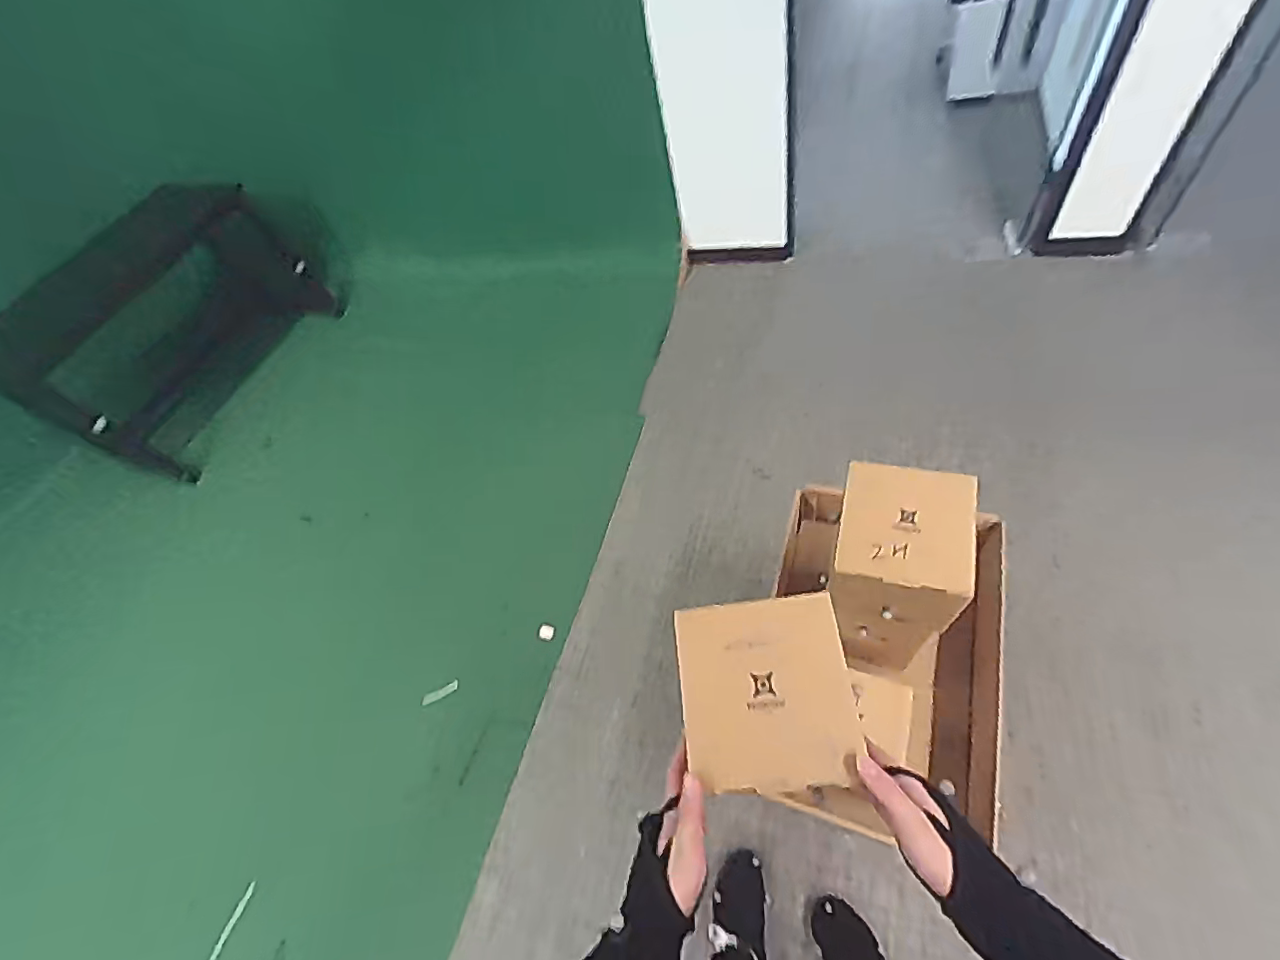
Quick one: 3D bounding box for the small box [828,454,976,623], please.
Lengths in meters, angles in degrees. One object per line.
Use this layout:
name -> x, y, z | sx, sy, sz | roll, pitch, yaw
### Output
small box -> 0.372, 0.087, 0.788 | 0.168, 0.176, 0.179 | 9, 64, 21

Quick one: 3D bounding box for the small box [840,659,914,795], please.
small box -> 0.373, 0.434, 0.958 | 0.168, 0.176, 0.179 | 11, 60, 22

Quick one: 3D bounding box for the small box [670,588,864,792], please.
small box -> 0.134, 0.235, 0.595 | 0.168, 0.176, 0.179 | -10, 60, 9

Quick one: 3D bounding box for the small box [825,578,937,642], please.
small box -> 0.417, 0.157, 0.931 | 0.168, 0.176, 0.179 | 11, 64, 21
